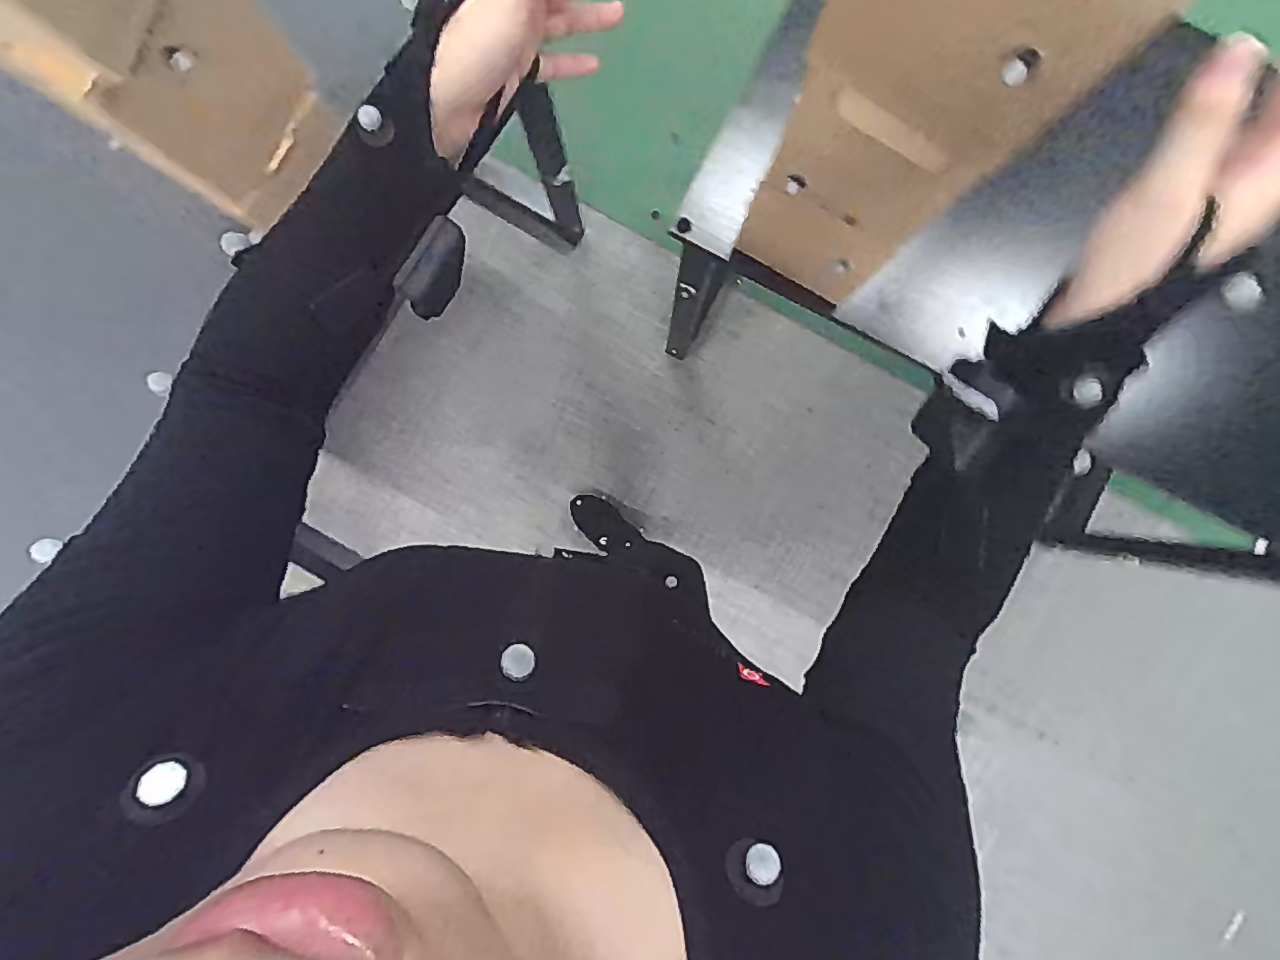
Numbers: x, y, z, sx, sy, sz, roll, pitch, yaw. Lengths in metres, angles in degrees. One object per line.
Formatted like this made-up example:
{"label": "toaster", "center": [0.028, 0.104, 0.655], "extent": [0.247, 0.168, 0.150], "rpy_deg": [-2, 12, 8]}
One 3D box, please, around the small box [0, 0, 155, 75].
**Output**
{"label": "small box", "center": [-0.456, -0.418, 0.354], "extent": [0.179, 0.176, 0.168], "rpy_deg": [22, 90, 2]}

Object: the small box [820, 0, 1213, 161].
{"label": "small box", "center": [0.252, -0.348, 0.346], "extent": [0.179, 0.176, 0.168], "rpy_deg": [32, 88, 0]}

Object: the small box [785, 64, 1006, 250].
{"label": "small box", "center": [0.257, -0.356, 0.508], "extent": [0.168, 0.176, 0.179], "rpy_deg": [32, 89, 0]}

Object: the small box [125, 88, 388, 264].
{"label": "small box", "center": [-0.461, -0.402, 0.682], "extent": [0.179, 0.176, 0.168], "rpy_deg": [32, 91, 2]}

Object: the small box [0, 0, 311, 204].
{"label": "small box", "center": [-0.462, -0.413, 0.519], "extent": [0.168, 0.176, 0.179], "rpy_deg": [30, 91, 2]}
